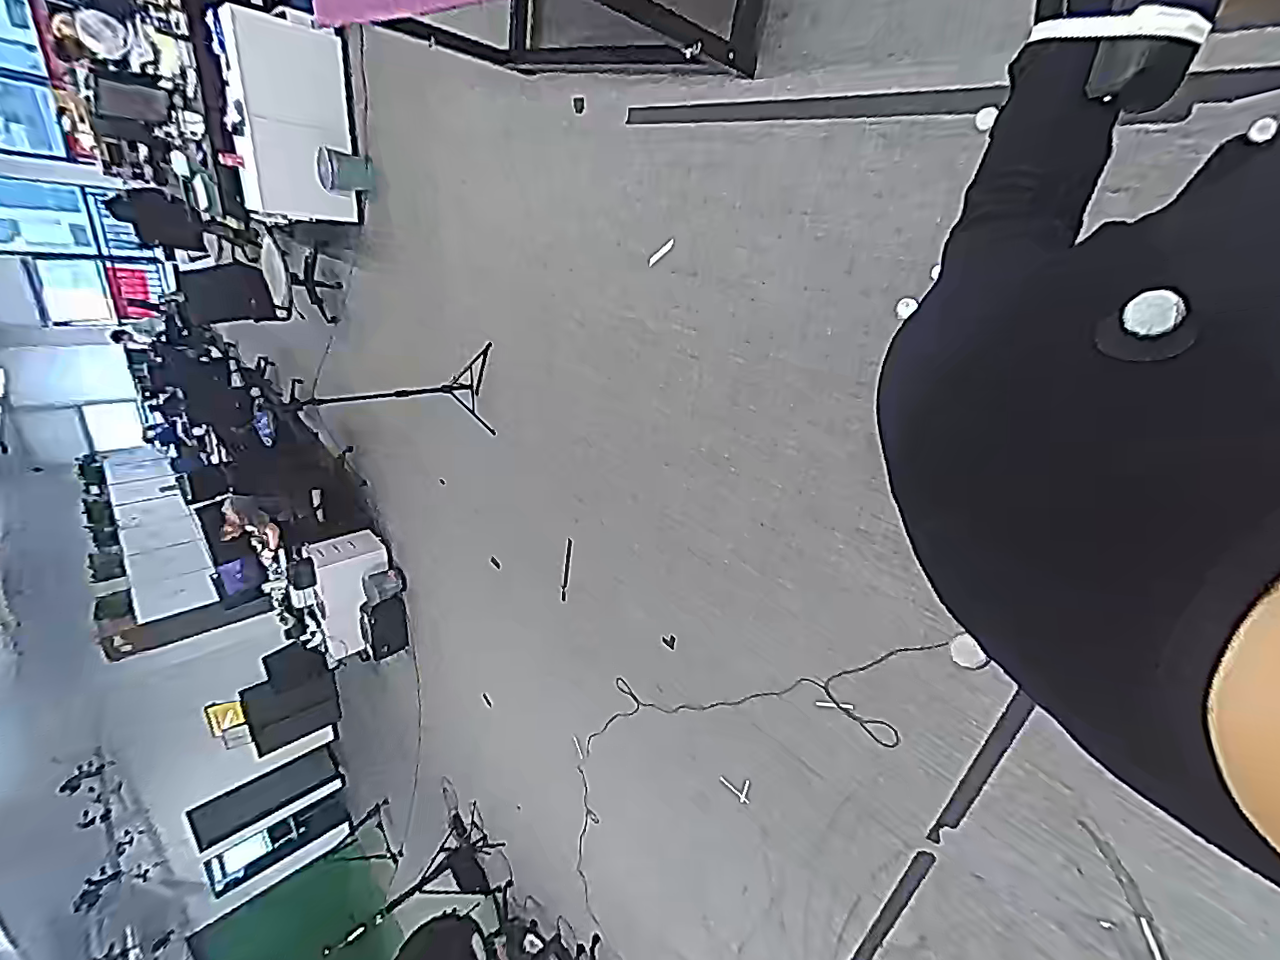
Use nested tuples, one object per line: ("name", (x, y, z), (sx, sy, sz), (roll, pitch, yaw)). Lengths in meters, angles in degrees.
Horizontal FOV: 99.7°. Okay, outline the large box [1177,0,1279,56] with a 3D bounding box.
("large box", (0.555, -0.417, 0.228), (0.408, 0.320, 0.320), (23, 128, 35))
